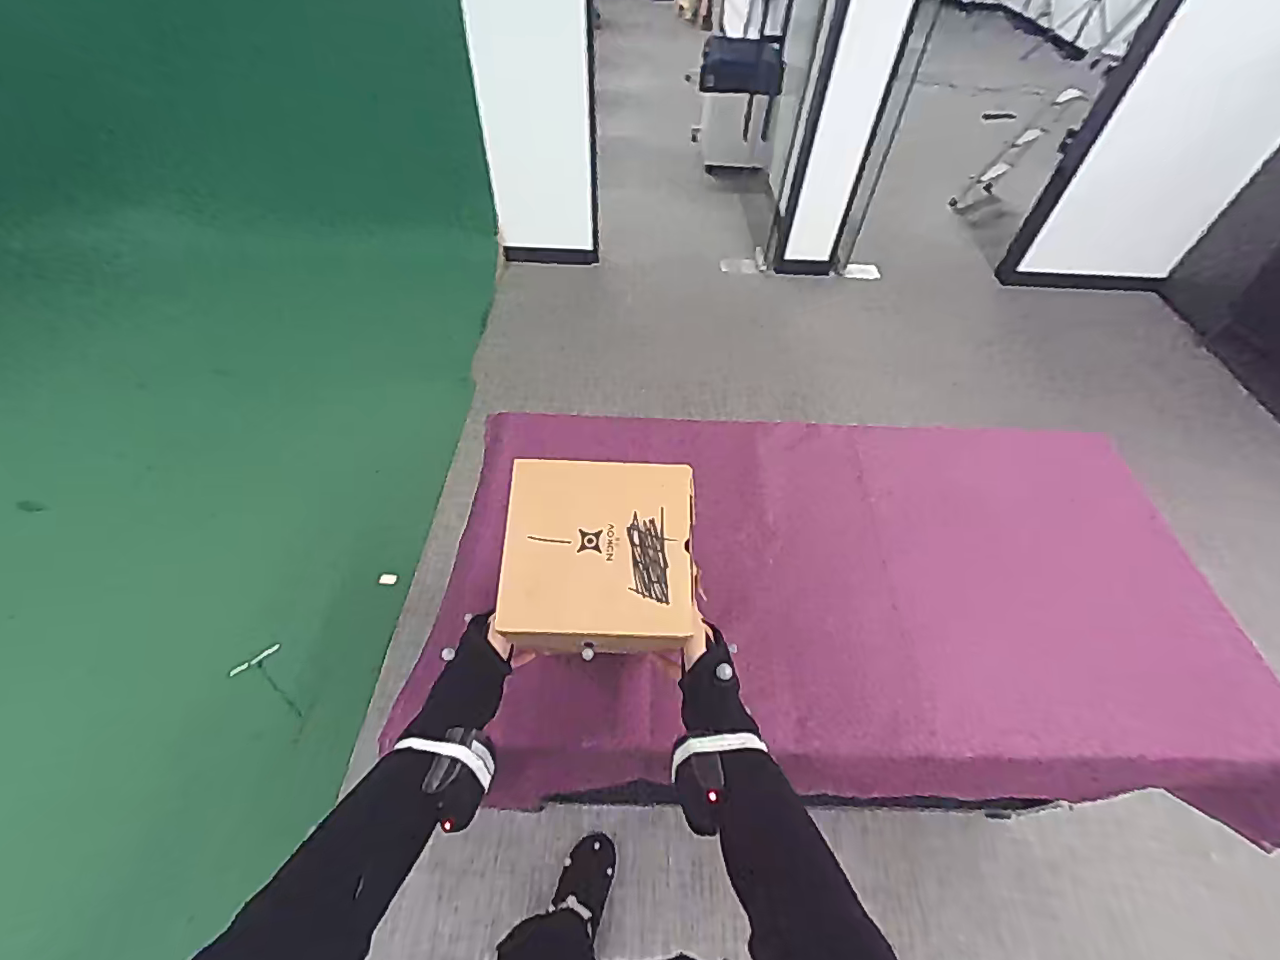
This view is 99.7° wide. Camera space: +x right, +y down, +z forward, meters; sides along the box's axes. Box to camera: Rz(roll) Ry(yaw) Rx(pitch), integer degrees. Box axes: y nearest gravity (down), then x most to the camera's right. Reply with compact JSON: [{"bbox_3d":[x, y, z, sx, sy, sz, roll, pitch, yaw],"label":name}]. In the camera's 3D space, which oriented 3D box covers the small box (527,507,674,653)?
[{"bbox_3d":[-0.053,0.142,0.737,0.179,0.176,0.168,-1,67,-3],"label":"small box"}]
